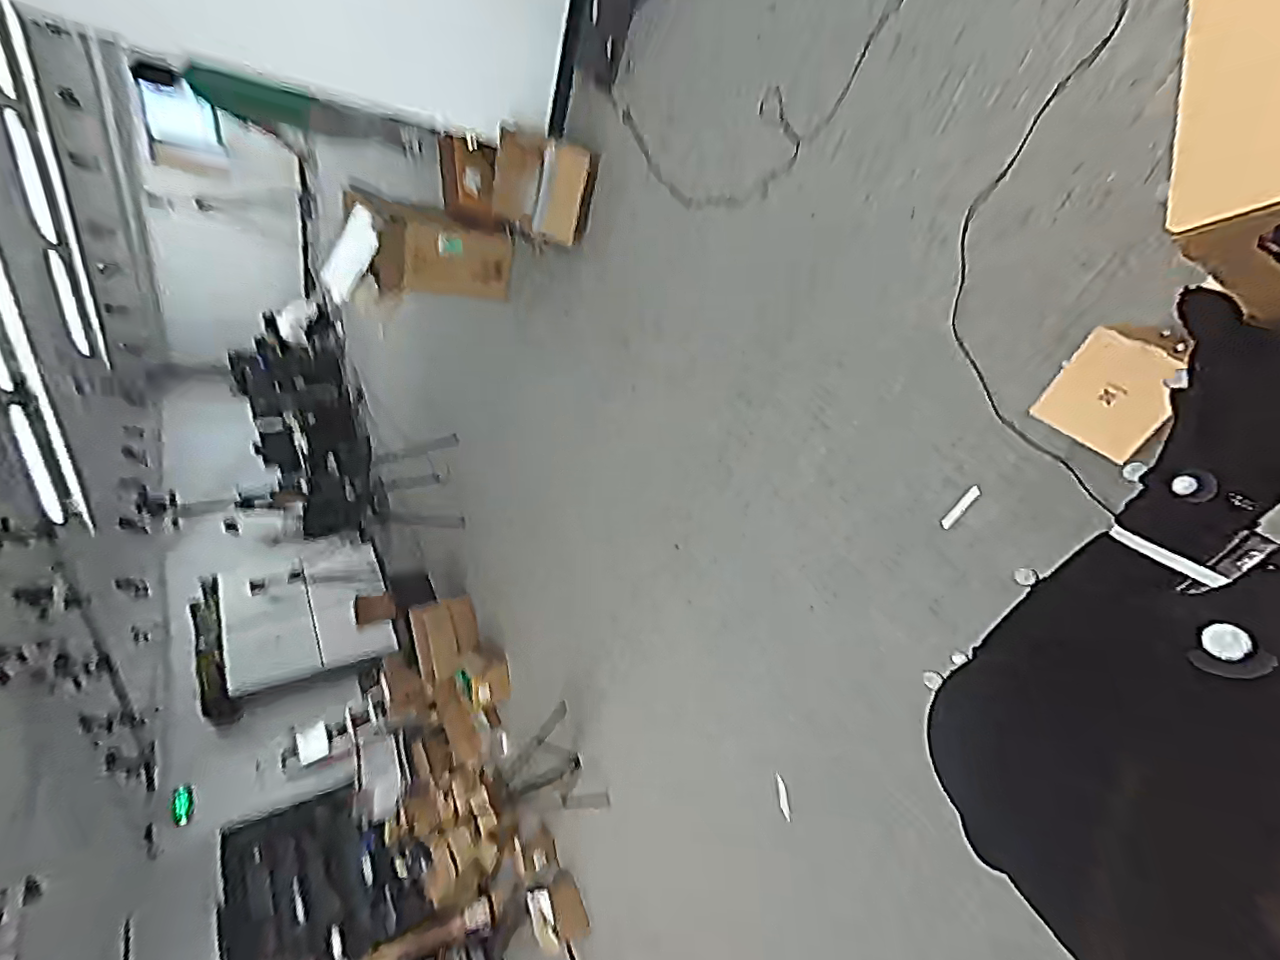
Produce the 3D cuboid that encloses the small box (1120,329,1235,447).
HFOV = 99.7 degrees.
[{"bbox_3d":[0.975,-0.172,1.046,0.179,0.176,0.168,52,135,33],"label":"small box"}]

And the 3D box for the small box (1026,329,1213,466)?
[{"bbox_3d":[0.844,-0.147,0.953,0.168,0.176,0.179,49,133,37],"label":"small box"}]

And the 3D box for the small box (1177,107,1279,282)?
[{"bbox_3d":[0.939,-0.397,0.772,0.168,0.176,0.179,49,132,37],"label":"small box"}]
